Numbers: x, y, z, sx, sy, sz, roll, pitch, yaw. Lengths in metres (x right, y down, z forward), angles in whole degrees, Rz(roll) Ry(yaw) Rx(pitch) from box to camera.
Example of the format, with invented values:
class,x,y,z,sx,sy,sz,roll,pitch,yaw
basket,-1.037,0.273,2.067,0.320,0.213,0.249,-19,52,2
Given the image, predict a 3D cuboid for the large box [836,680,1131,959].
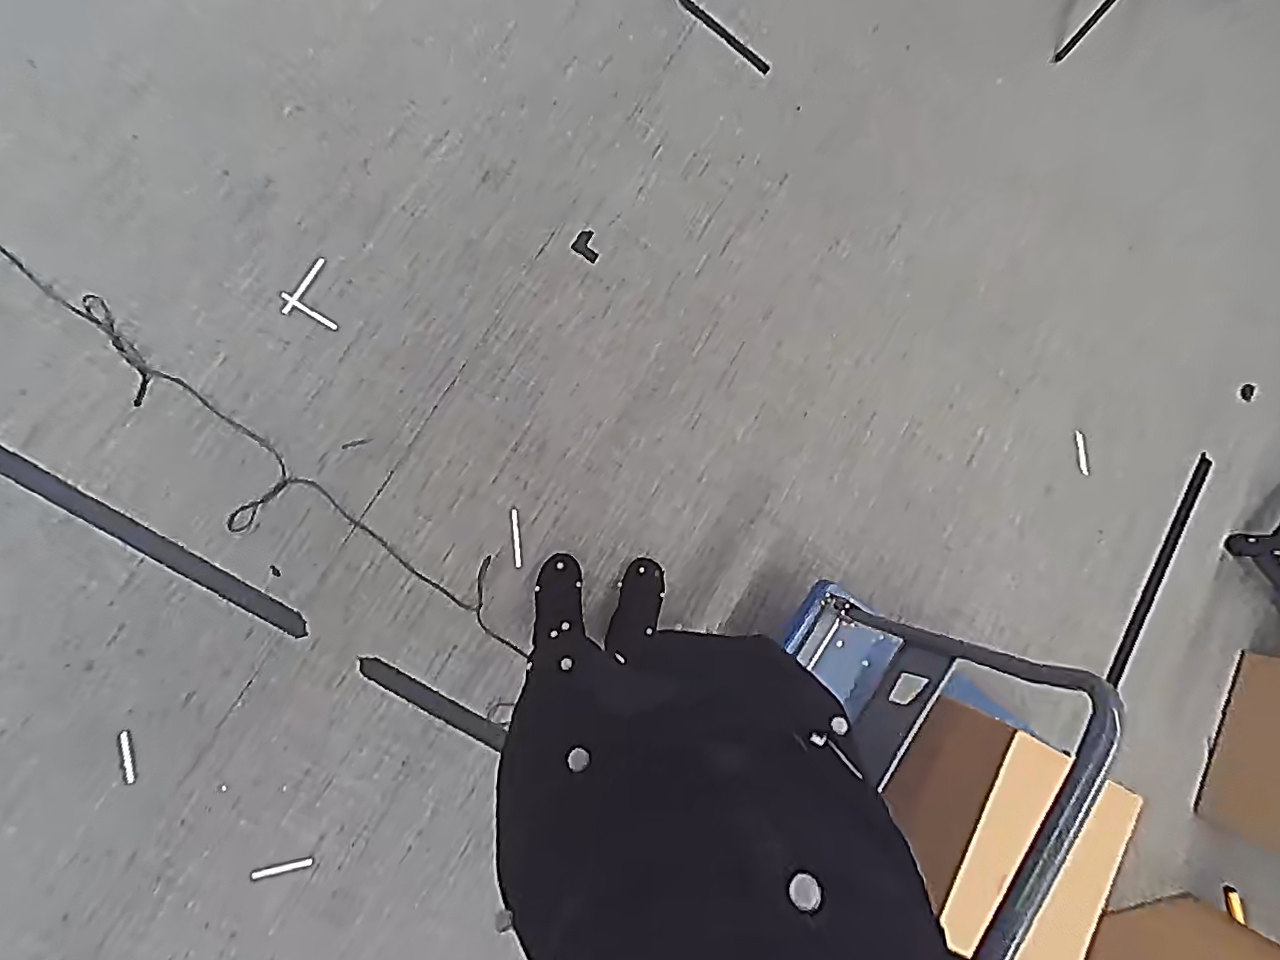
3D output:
class,x,y,z,sx,sy,sz,roll,pitch,yaw
large box,0.686,0.702,1.125,0.320,0.320,0.408,30,83,-7
